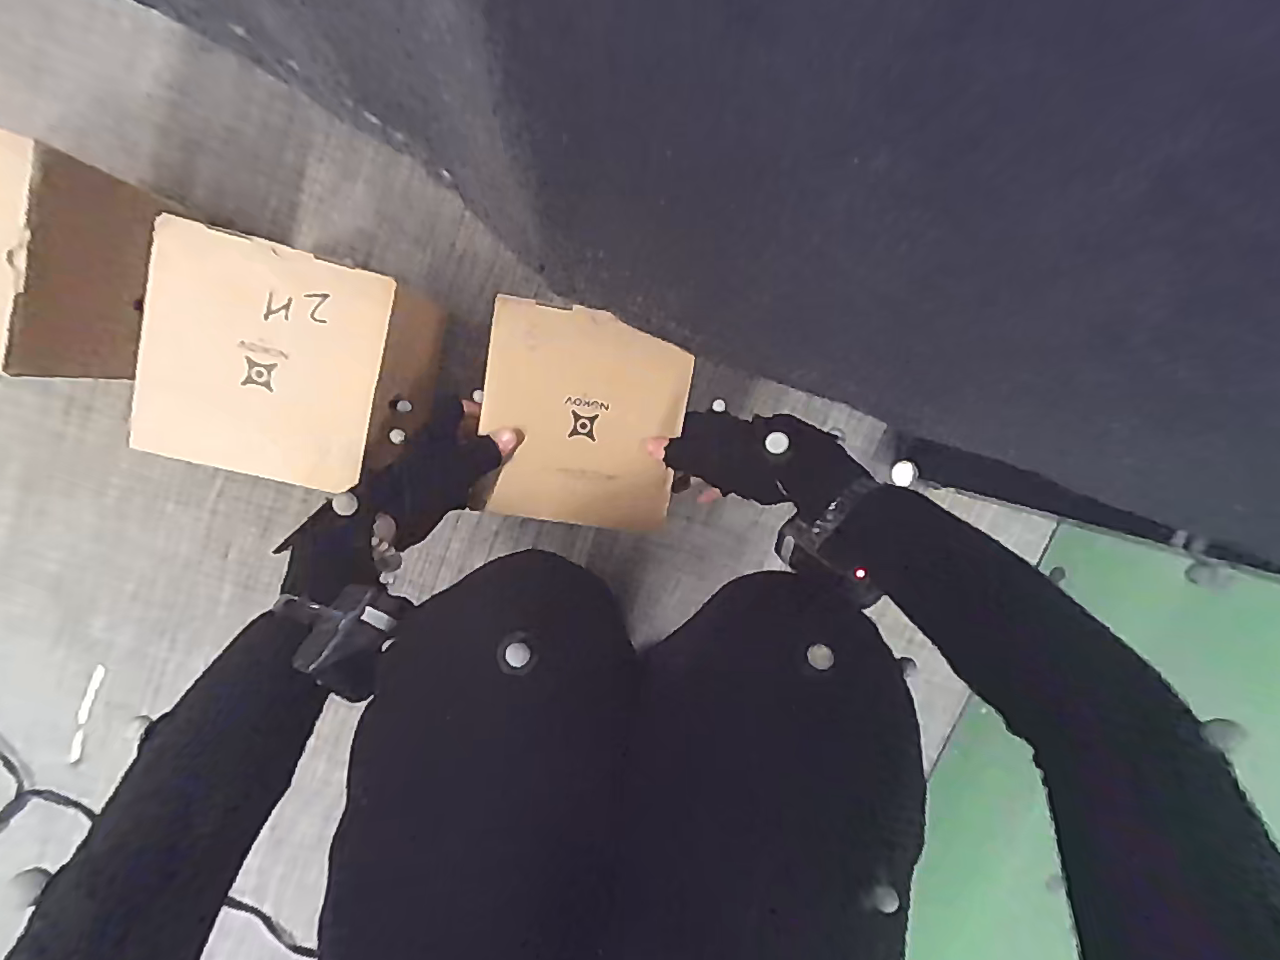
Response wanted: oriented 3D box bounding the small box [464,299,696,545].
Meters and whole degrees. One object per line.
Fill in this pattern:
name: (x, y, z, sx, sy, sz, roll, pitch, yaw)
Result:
small box: (-0.054, -0.054, 0.509, 0.168, 0.176, 0.179, 9, 99, -4)
